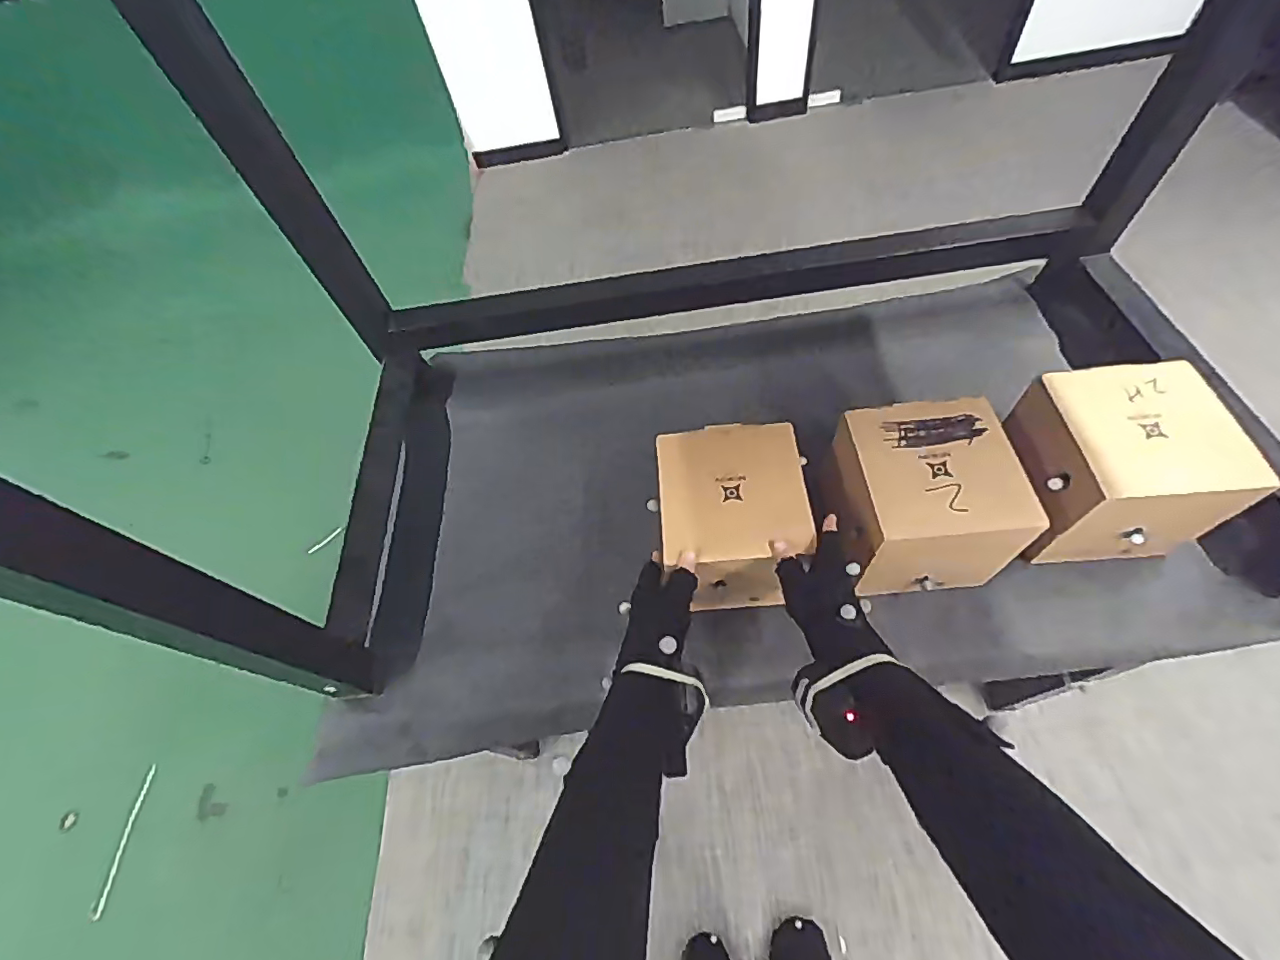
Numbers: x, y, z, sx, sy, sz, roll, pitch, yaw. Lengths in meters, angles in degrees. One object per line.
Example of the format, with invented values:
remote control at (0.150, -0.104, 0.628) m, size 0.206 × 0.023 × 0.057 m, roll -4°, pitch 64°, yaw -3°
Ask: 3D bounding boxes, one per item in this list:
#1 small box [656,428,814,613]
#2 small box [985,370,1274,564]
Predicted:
small box at (0.114, 0.060, 0.683) m, size 0.168 × 0.176 × 0.179 m, roll -6°, pitch 57°, yaw 5°
small box at (0.561, -0.006, 0.656) m, size 0.168 × 0.176 × 0.179 m, roll -4°, pitch 57°, yaw 6°
